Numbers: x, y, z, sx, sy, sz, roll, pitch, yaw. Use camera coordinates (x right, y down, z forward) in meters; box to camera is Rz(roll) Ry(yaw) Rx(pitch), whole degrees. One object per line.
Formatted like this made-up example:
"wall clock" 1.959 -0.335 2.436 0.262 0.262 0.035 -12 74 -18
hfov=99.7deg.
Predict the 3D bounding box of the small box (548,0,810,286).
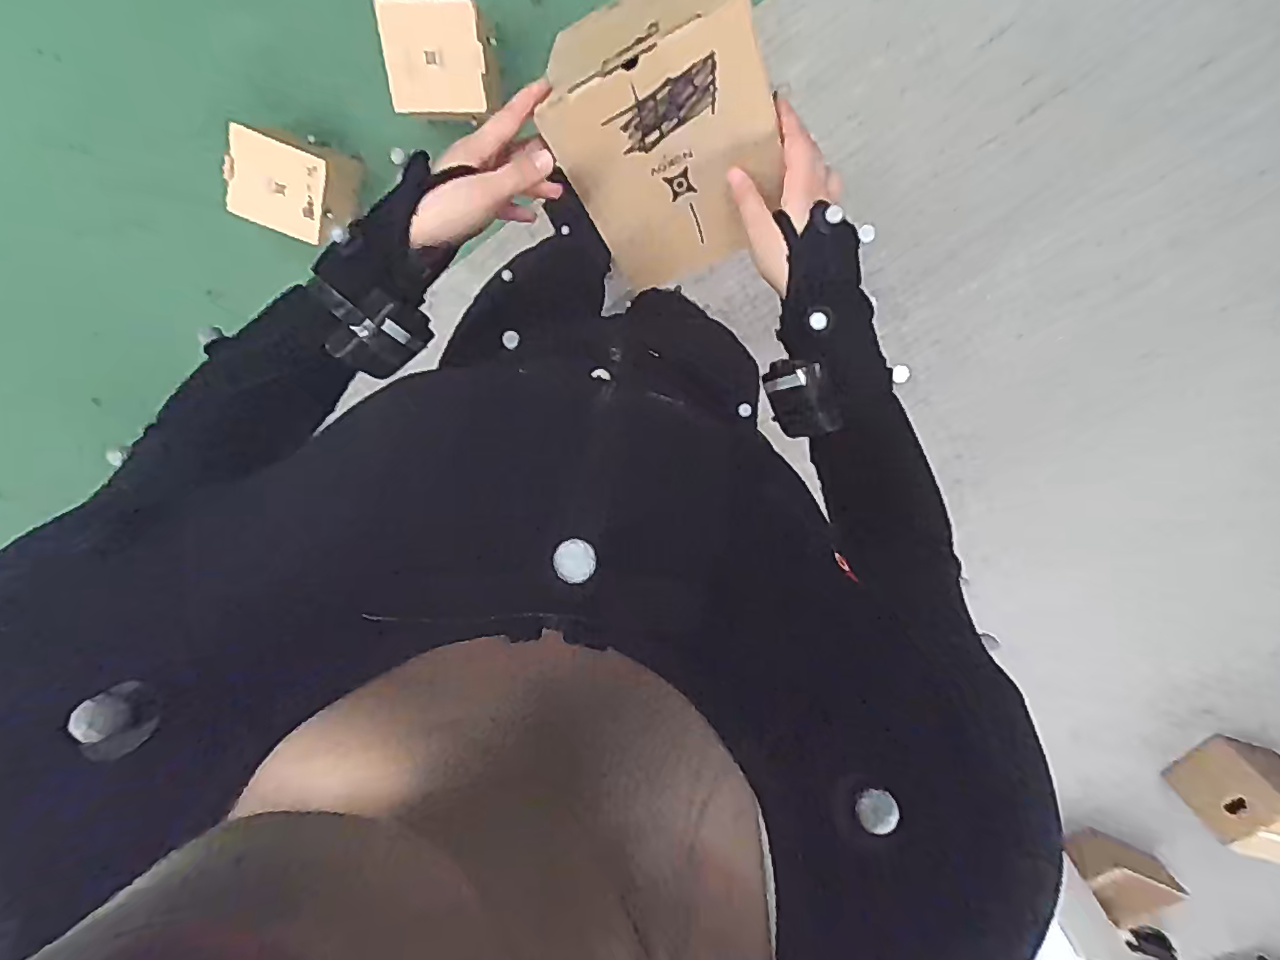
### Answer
"small box" 0.039 -0.316 0.476 0.168 0.176 0.179 -14 144 22

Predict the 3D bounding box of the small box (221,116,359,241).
"small box" -0.715 -0.615 1.116 0.179 0.176 0.168 19 117 -12

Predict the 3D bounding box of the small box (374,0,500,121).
"small box" -0.371 -0.792 1.029 0.179 0.176 0.168 -1 119 -1
